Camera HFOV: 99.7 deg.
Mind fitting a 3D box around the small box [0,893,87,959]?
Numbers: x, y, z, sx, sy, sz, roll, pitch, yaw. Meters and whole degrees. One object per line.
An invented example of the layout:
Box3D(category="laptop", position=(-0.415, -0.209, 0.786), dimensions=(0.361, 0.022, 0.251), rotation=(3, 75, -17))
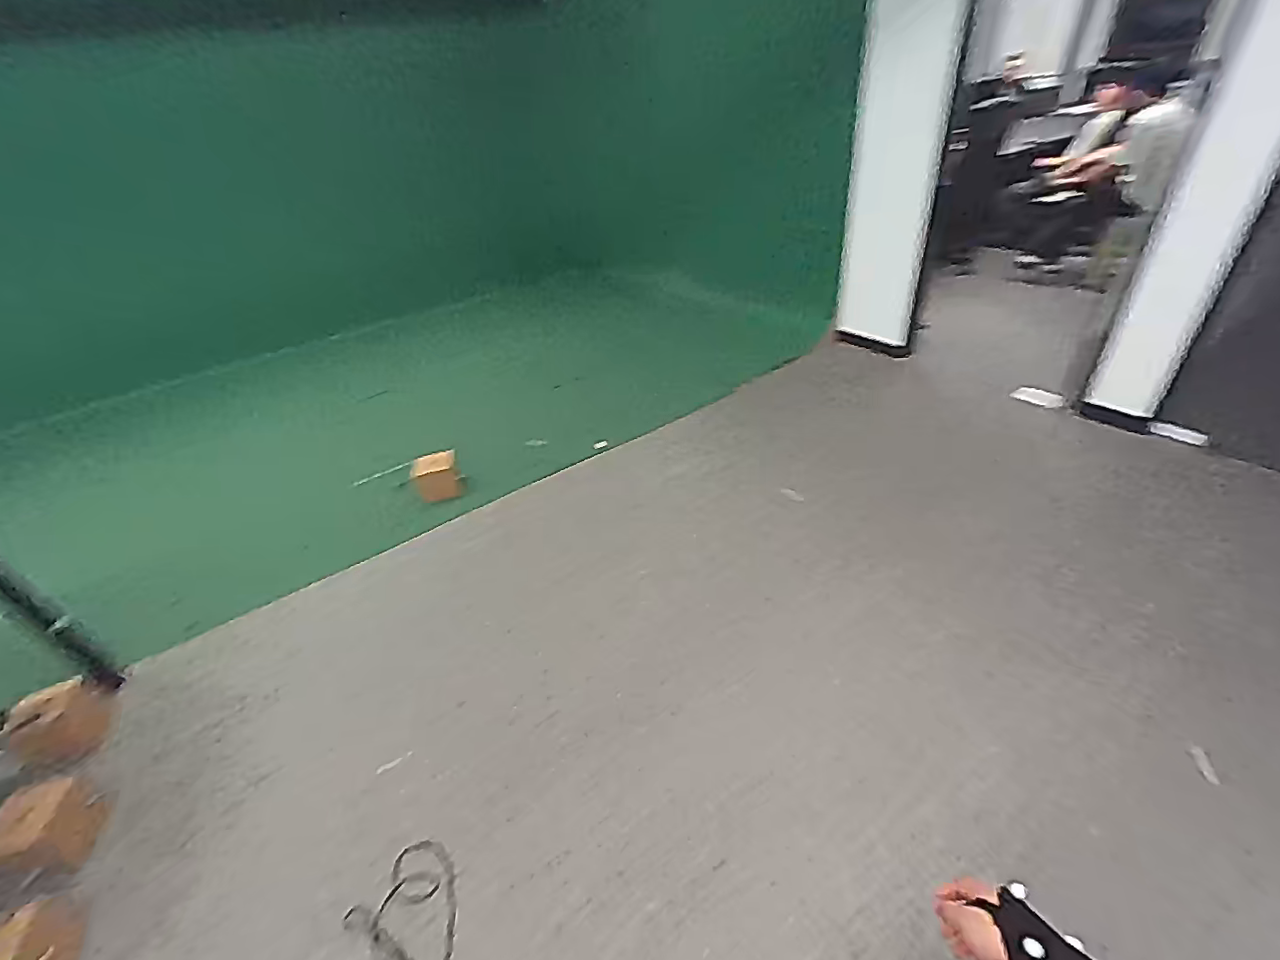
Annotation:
Box3D(category="small box", position=(-1.415, 1.084, 1.211), dimensions=(0.168, 0.176, 0.179), rotation=(-17, 38, -14))

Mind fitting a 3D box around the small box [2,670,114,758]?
Box3D(category="small box", position=(-1.848, 0.756, 1.732), dimensions=(0.168, 0.176, 0.179), rotation=(-21, 37, -19))

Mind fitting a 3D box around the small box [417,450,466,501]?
Box3D(category="small box", position=(-0.965, -0.019, 2.636), dimensions=(0.179, 0.176, 0.168), rotation=(-13, 37, -8))

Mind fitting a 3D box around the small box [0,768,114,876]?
Box3D(category="small box", position=(-1.595, 0.923, 1.461), dimensions=(0.168, 0.176, 0.179), rotation=(-13, 38, -7))
